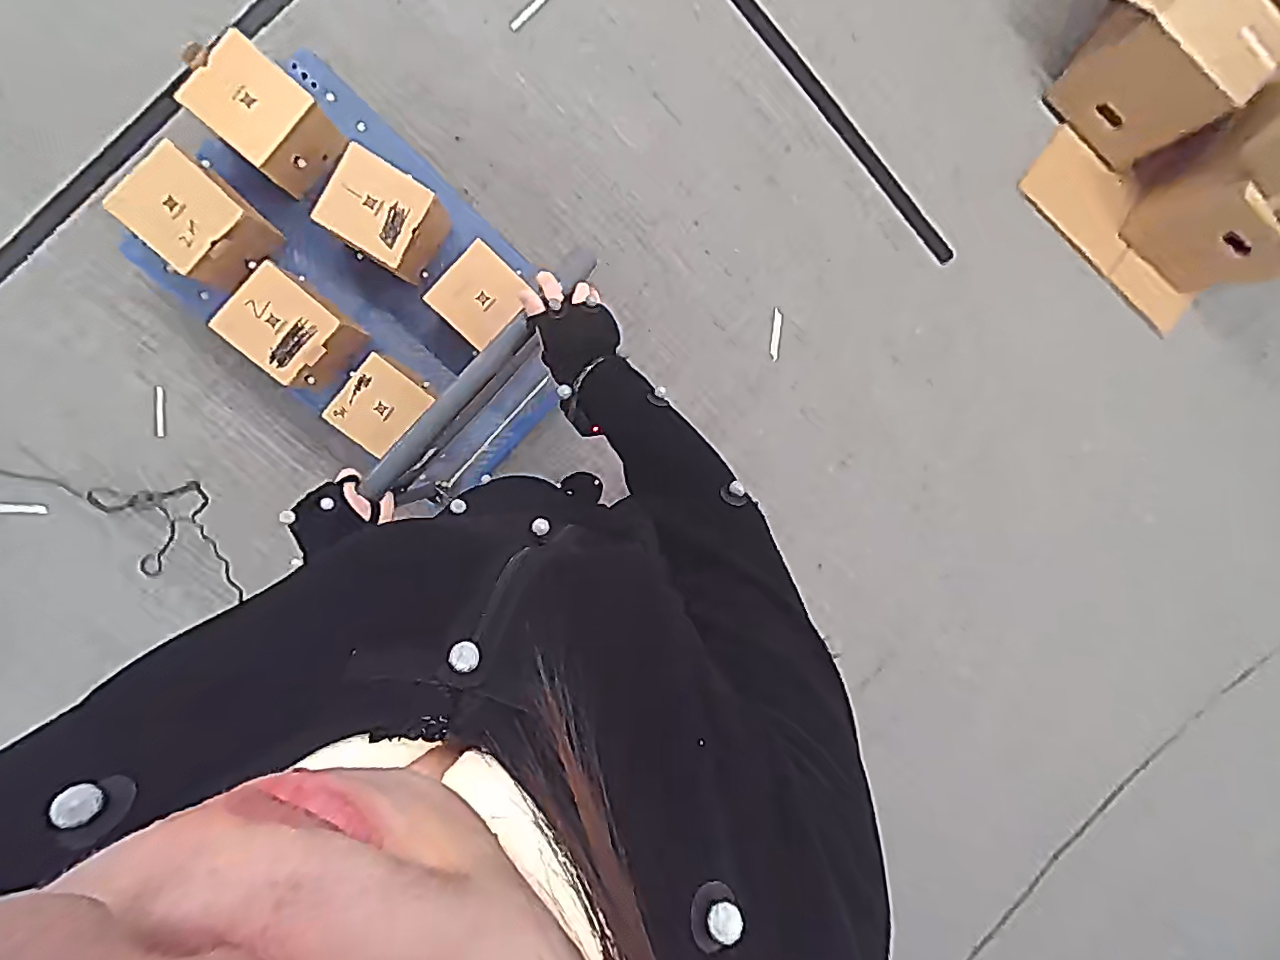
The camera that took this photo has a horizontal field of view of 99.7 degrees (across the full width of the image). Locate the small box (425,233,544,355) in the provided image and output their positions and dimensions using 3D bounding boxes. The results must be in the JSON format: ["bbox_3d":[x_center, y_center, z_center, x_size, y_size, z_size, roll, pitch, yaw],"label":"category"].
[{"bbox_3d":[-0.318,-0.383,1.153,0.179,0.176,0.168,43,89,-11],"label":"small box"}]

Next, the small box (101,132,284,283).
[{"bbox_3d":[-0.852,-0.514,1.051,0.179,0.176,0.168,44,89,-12],"label":"small box"}]

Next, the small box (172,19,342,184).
[{"bbox_3d":[-0.722,-0.711,1.047,0.179,0.176,0.168,39,90,-11],"label":"small box"}]

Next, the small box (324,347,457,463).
[{"bbox_3d":[-0.515,-0.159,1.150,0.179,0.176,0.168,39,89,-12],"label":"small box"}]
